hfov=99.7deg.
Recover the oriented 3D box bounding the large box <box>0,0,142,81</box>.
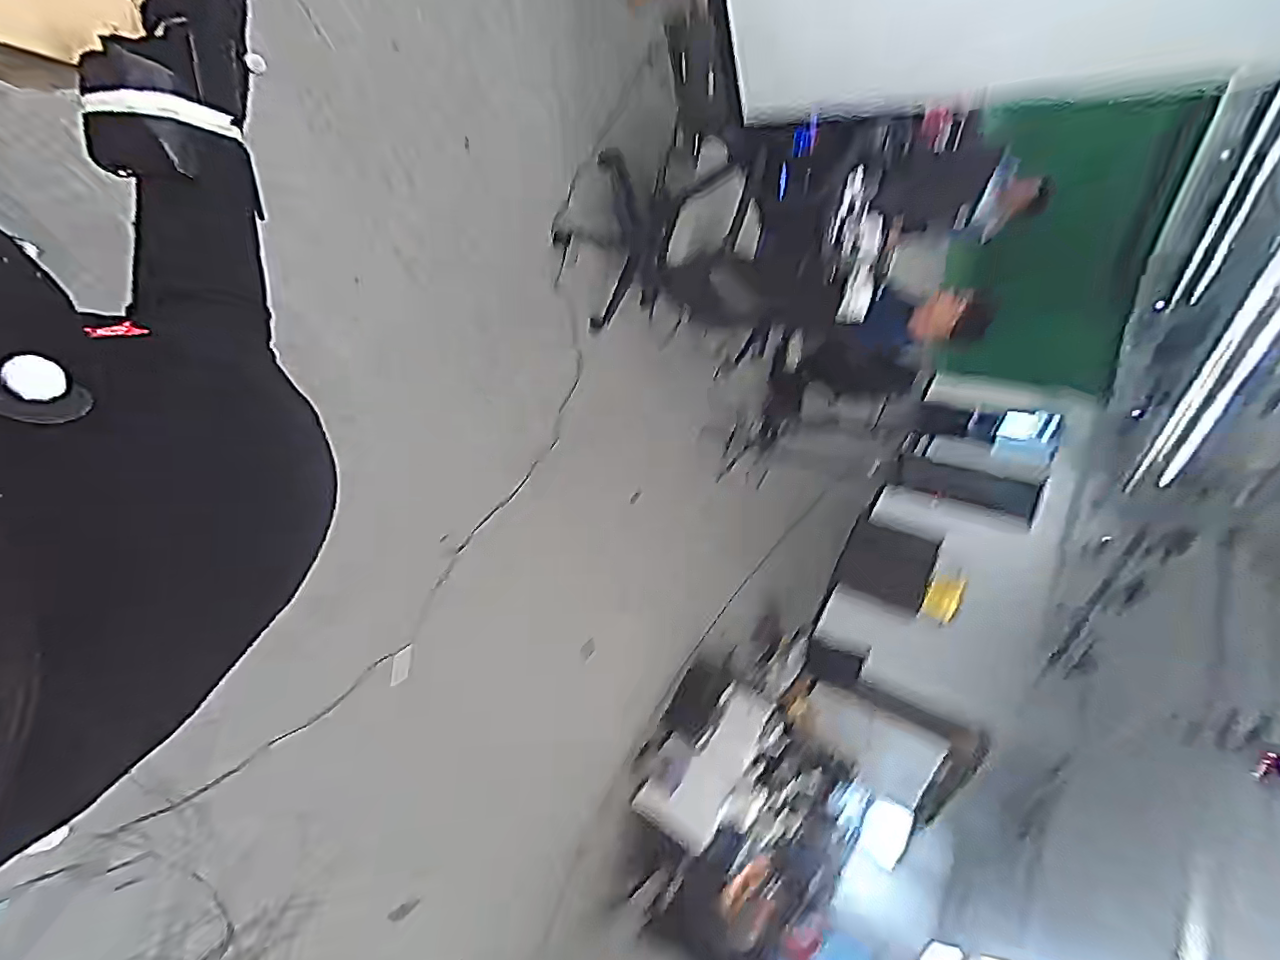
[{"bbox_3d":[-0.548,-0.425,0.234,0.408,0.320,0.320,-18,127,-52],"label":"large box"}]
